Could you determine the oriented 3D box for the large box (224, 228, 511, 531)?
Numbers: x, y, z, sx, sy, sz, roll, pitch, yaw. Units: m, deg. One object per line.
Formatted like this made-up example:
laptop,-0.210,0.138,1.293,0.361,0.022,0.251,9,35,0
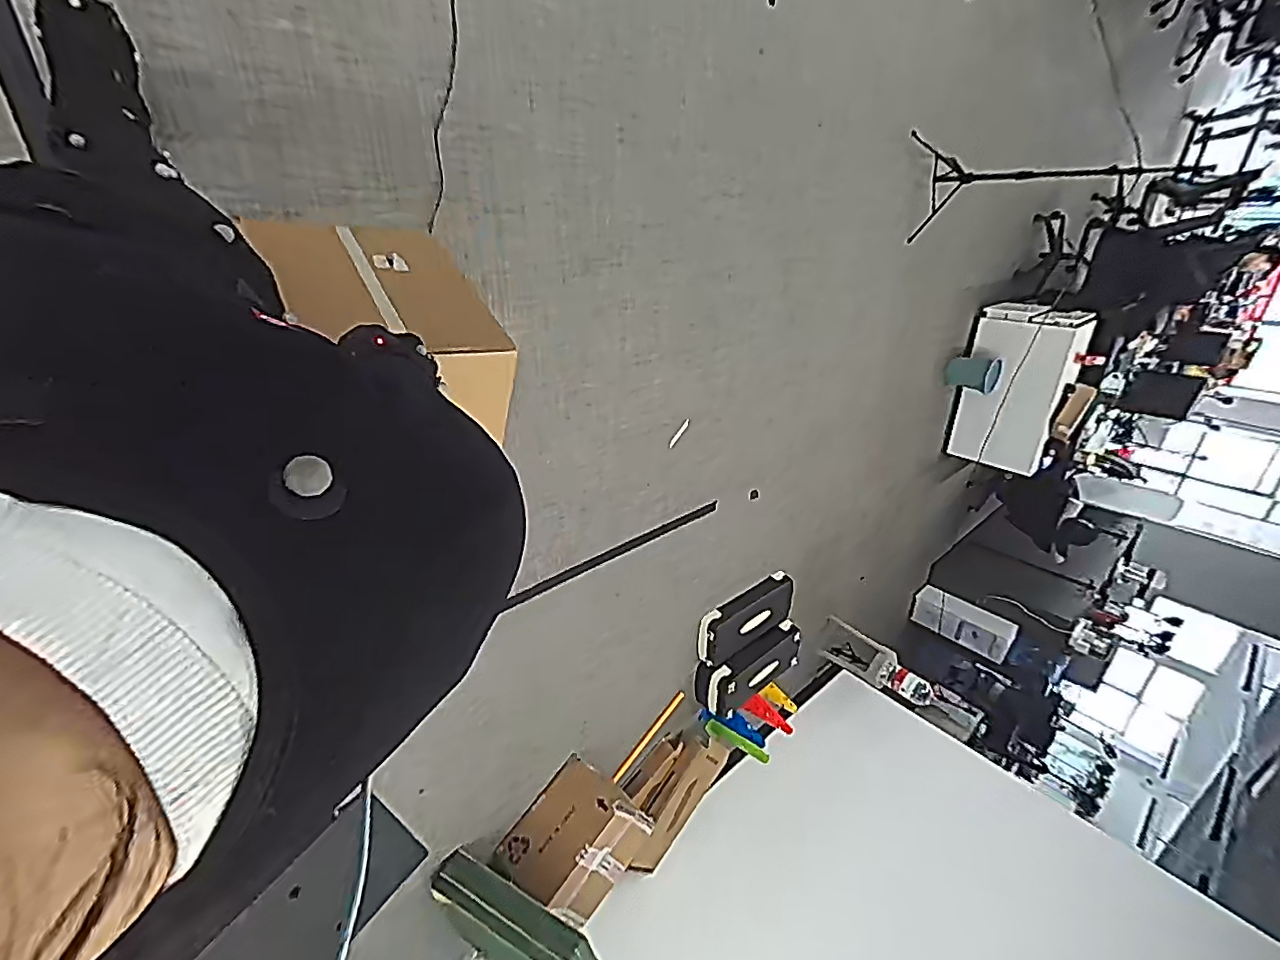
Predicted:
large box,-0.458,-0.182,0.913,0.320,0.408,0.320,-12,137,-37
